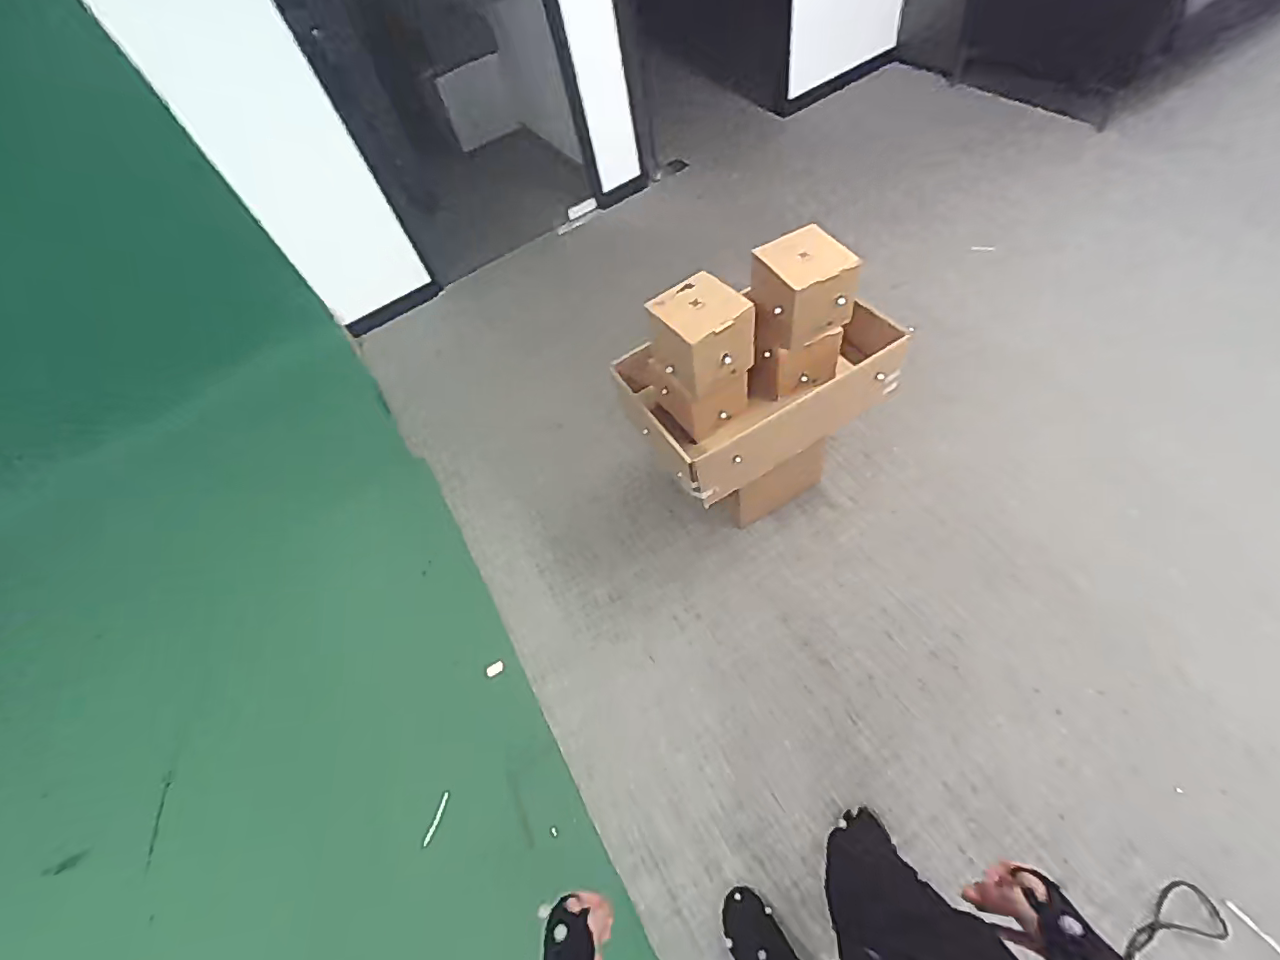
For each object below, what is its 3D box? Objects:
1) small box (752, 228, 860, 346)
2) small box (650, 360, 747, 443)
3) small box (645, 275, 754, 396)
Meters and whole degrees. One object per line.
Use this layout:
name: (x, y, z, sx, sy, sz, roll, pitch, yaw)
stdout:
small box: (0.370, -0.431, 1.235, 0.168, 0.176, 0.179, -25, 55, -7)
small box: (0.147, -0.224, 1.337, 0.168, 0.176, 0.179, -33, 56, -11)
small box: (0.135, -0.311, 1.197, 0.168, 0.176, 0.179, -33, 57, -12)
